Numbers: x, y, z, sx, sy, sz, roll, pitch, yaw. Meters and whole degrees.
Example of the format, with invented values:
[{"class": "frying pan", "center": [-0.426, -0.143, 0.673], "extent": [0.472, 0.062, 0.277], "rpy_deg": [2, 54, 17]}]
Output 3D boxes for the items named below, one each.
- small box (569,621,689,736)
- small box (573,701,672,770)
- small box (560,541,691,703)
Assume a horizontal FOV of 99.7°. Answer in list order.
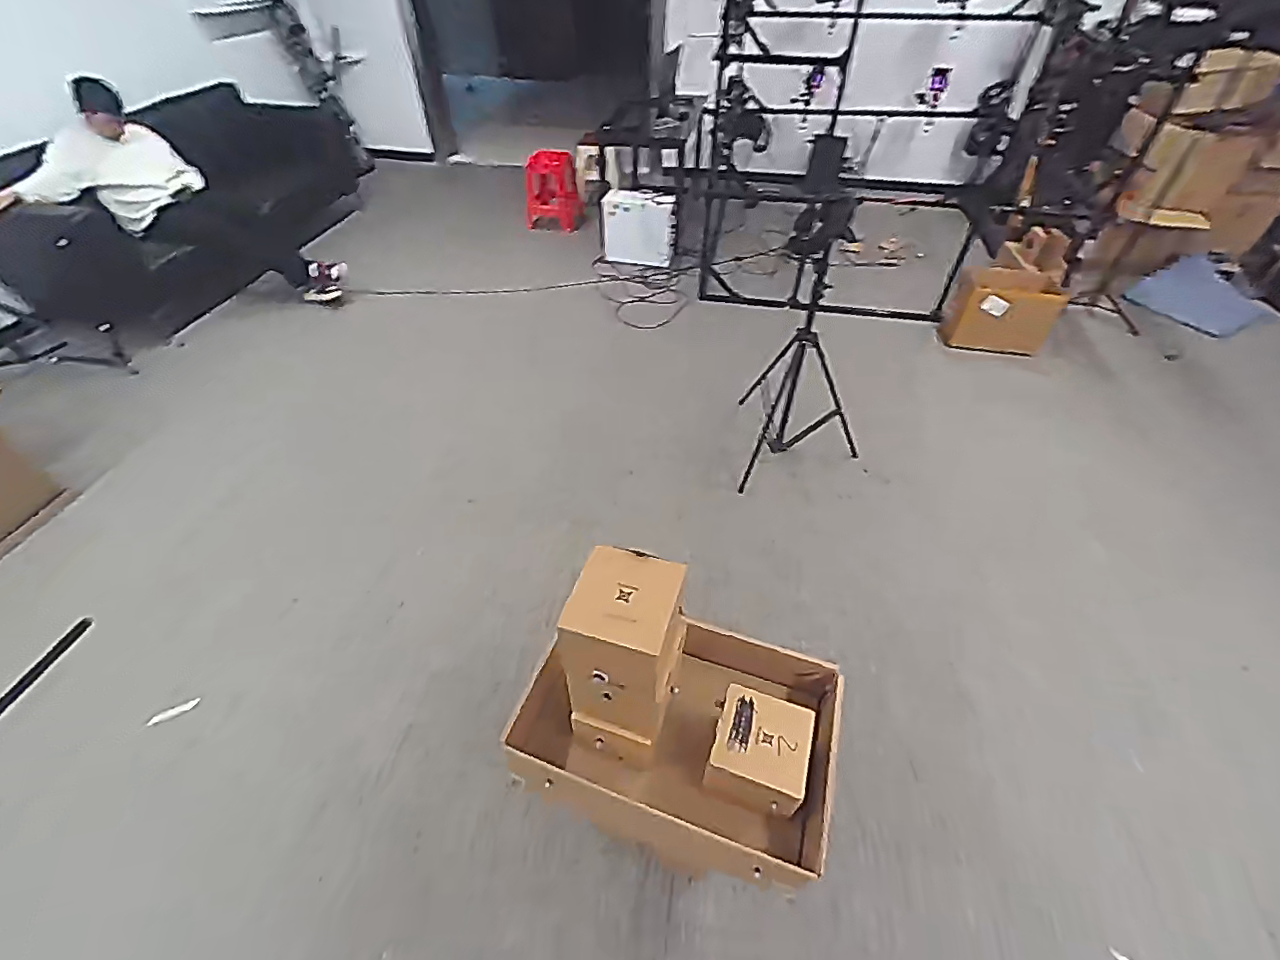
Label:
[{"class": "small box", "center": [-0.019, 0.354, 1.023], "extent": [0.179, 0.176, 0.168], "rpy_deg": [16, 47, 13]}, {"class": "small box", "center": [-0.027, 0.475, 1.135], "extent": [0.168, 0.176, 0.179], "rpy_deg": [14, 46, 12]}, {"class": "small box", "center": [-0.021, 0.237, 0.908], "extent": [0.168, 0.176, 0.179], "rpy_deg": [13, 45, 13]}]
